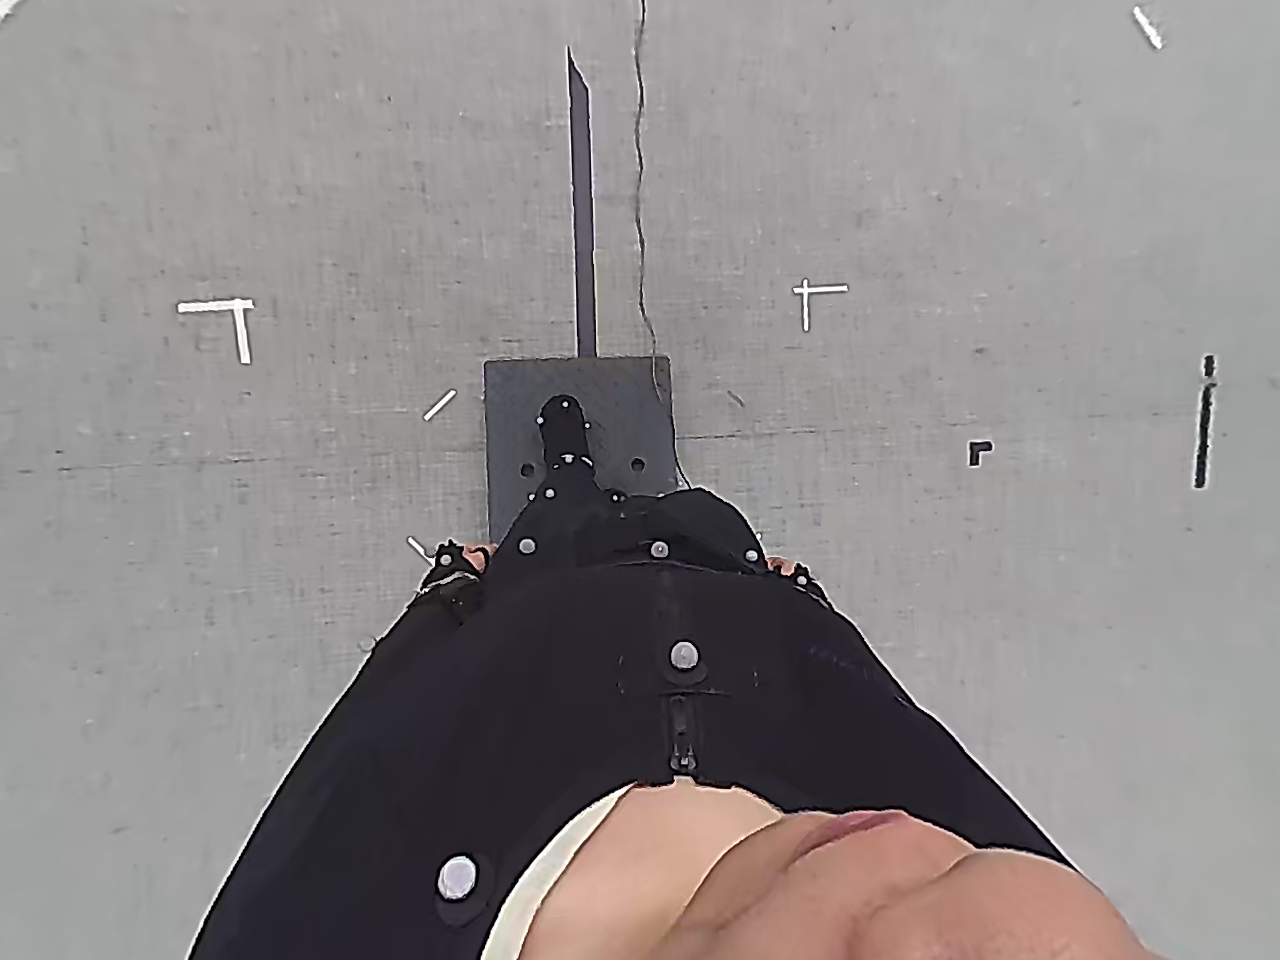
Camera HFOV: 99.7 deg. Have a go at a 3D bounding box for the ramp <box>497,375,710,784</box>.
[{"bbox_3d":[-0.106,0.222,1.381,0.509,0.206,0.991,-5,92,-4],"label":"ramp"}]
